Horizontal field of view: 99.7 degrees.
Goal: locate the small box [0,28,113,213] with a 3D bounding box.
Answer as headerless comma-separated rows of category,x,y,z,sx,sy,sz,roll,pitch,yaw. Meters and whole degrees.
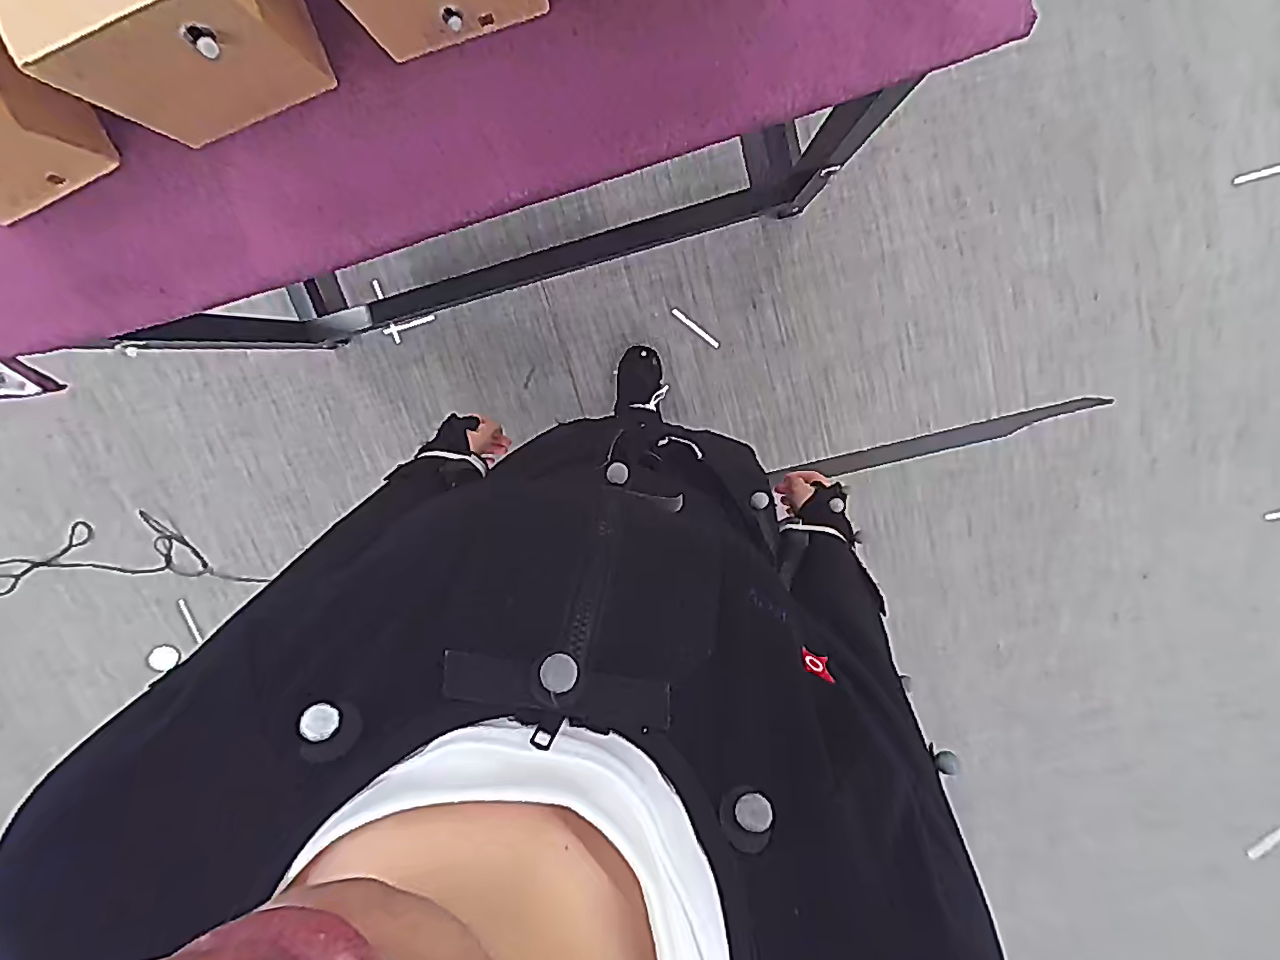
small box,-0.666,-0.371,0.499,0.168,0.176,0.179,-21,101,7

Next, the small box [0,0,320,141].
small box,-0.419,-0.437,0.470,0.179,0.176,0.168,-18,101,7
